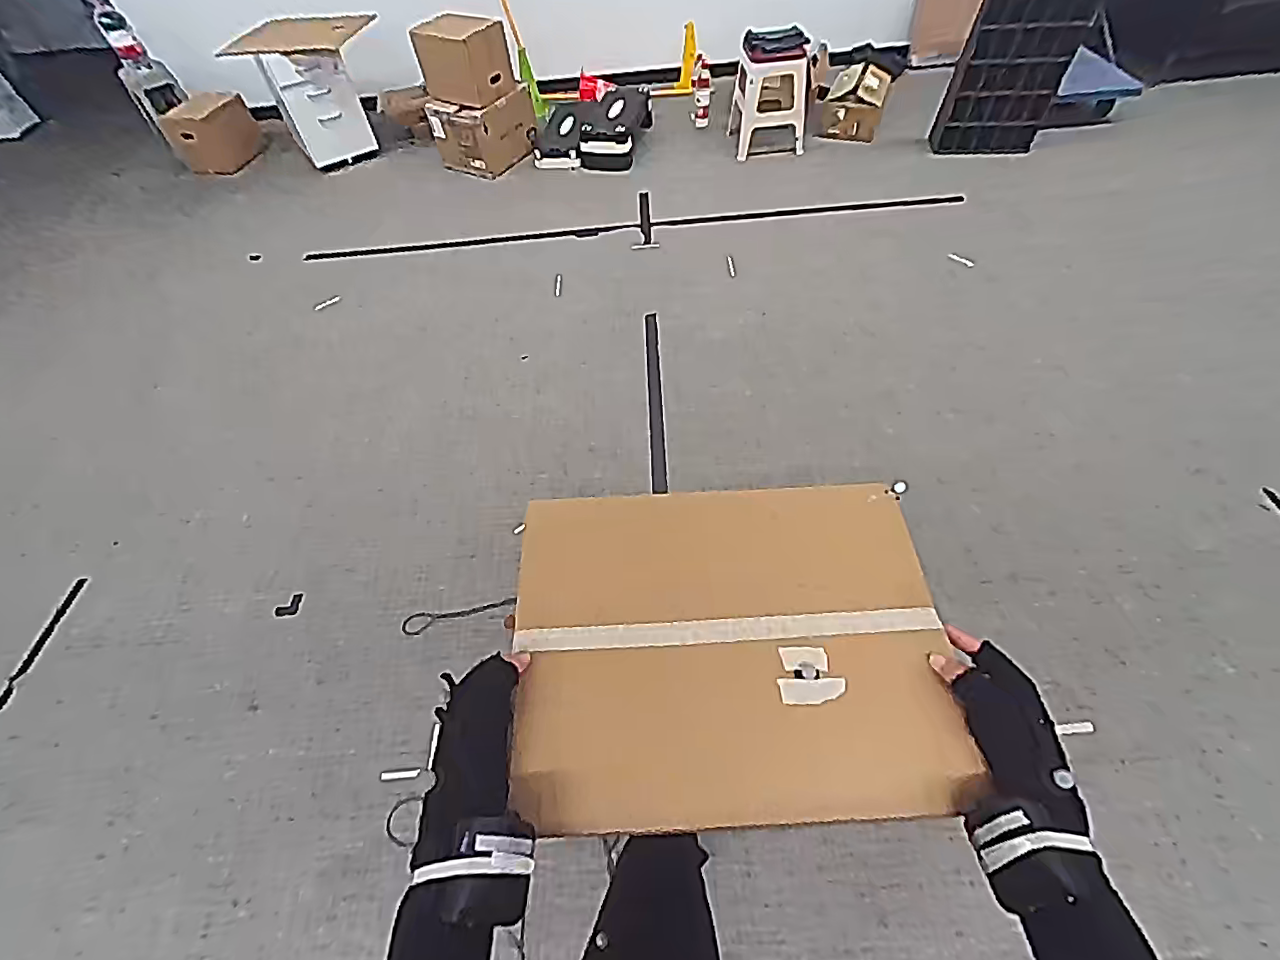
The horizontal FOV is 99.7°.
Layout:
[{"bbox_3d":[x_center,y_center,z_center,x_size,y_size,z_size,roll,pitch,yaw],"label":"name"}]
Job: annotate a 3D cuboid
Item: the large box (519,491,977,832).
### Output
[{"bbox_3d":[0.087,0.234,0.664,0.408,0.320,0.320,-3,58,0],"label":"large box"}]
